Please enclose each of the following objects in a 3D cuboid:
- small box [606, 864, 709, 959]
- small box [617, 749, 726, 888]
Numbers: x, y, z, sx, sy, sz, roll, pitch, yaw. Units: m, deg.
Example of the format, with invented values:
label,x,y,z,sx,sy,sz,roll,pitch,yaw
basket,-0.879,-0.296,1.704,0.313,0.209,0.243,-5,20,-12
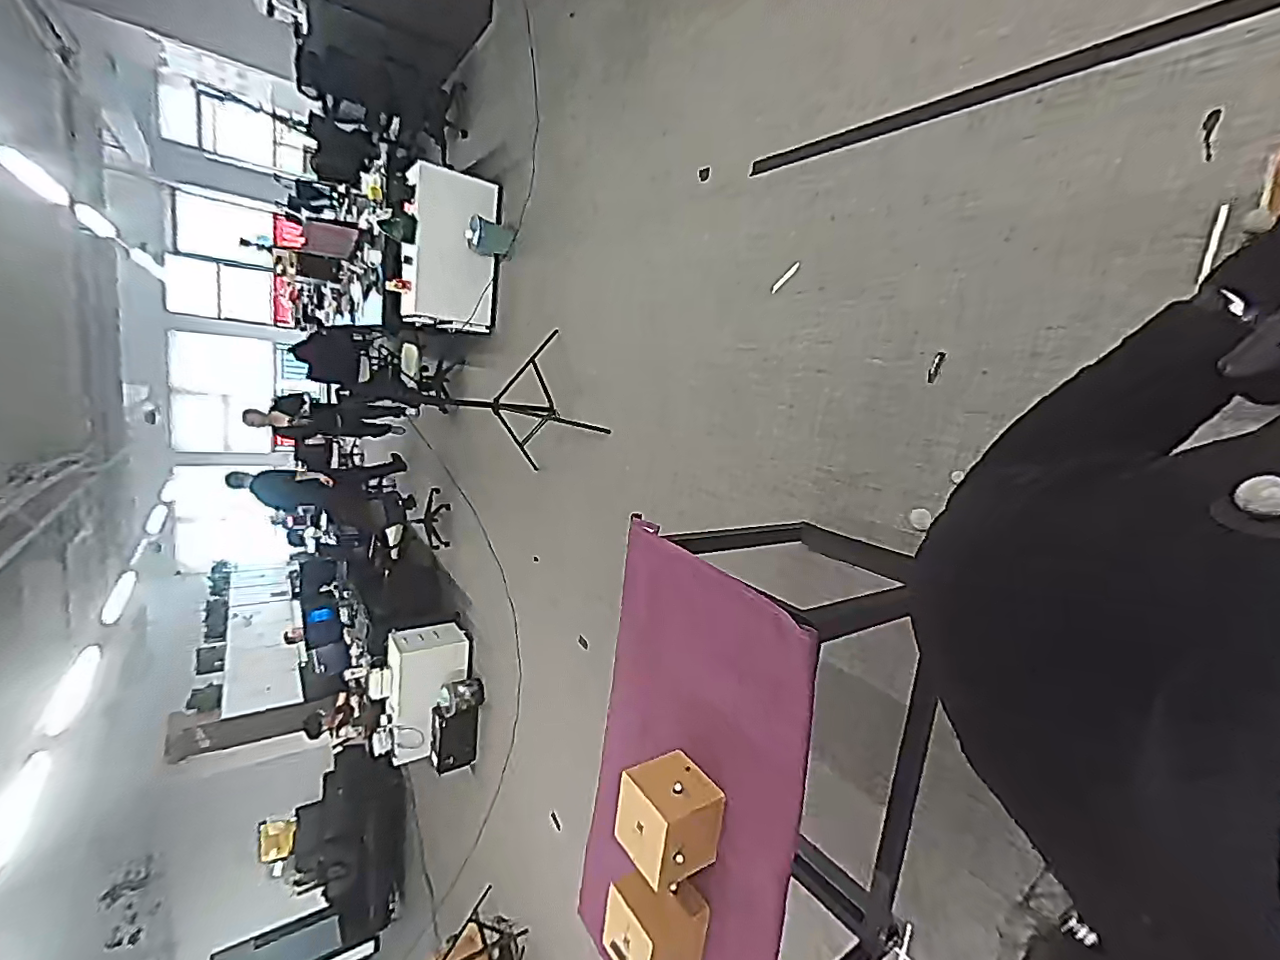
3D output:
label,x,y,z,sx,sy,sz,roll,pitch,yaw
small box,0.040,1.016,1.248,0.168,0.176,0.179,21,107,52
small box,0.071,0.737,1.202,0.168,0.176,0.179,21,107,53
